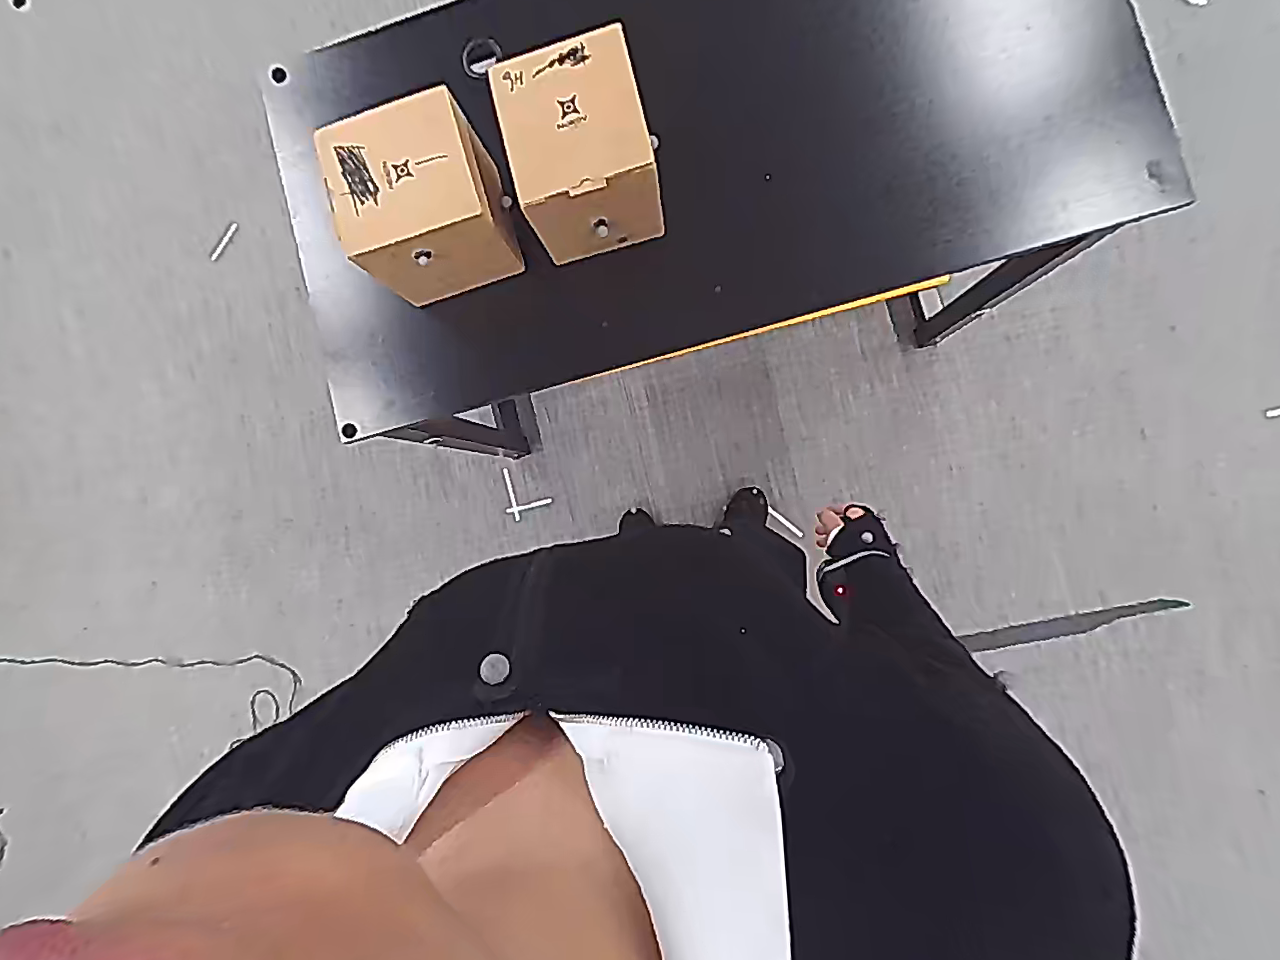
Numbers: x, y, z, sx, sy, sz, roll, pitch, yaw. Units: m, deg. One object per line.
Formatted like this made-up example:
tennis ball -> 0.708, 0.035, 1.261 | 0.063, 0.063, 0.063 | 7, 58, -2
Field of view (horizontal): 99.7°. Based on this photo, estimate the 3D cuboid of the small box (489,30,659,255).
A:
small box -> -0.074, -0.419, 0.709 | 0.168, 0.176, 0.179 | -14, 88, 4

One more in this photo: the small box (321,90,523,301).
small box -> -0.281, -0.365, 0.730 | 0.179, 0.176, 0.168 | -16, 87, 4
